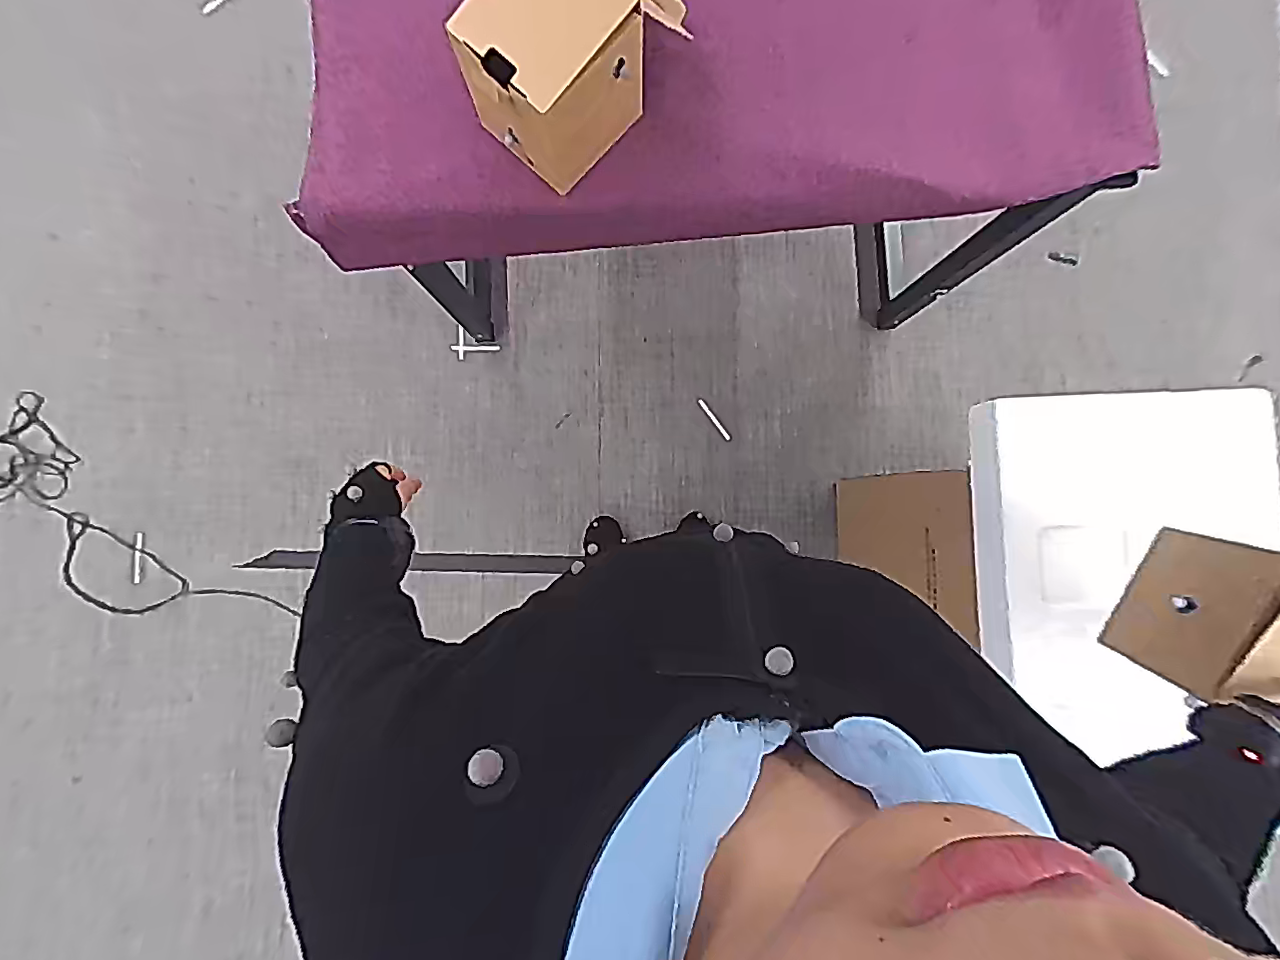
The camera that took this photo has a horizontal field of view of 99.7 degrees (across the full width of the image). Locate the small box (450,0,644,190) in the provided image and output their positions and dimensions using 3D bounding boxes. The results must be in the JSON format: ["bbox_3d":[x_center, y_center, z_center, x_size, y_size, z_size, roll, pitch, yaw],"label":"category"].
[{"bbox_3d":[-0.113,-0.542,0.722,0.168,0.176,0.179,43,87,3],"label":"small box"}]
